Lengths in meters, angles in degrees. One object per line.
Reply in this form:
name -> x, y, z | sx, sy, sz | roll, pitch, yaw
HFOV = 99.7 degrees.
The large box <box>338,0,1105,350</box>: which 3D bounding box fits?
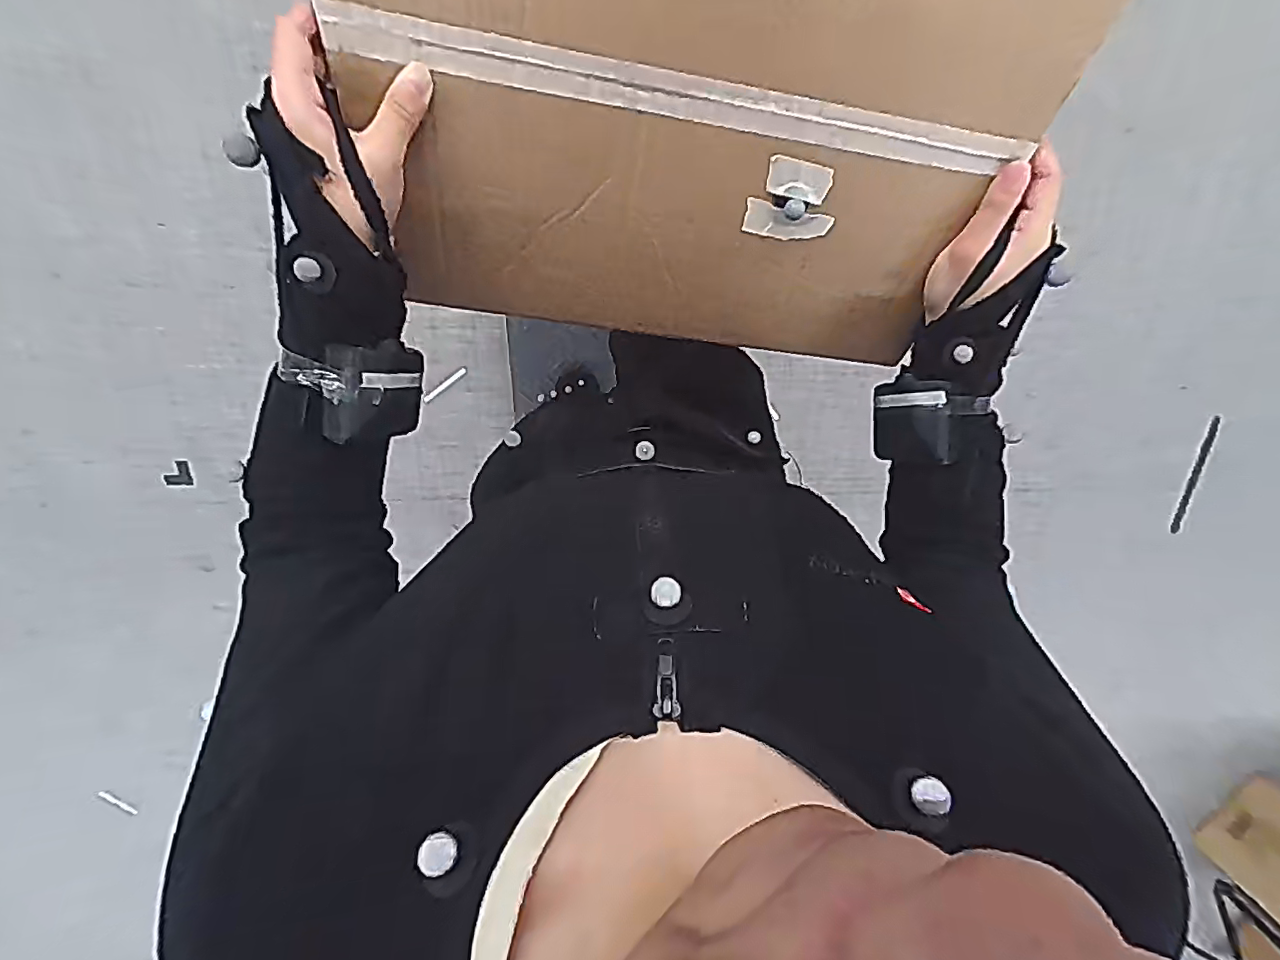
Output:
large box -> 0.029, -0.331, 0.411 | 0.408, 0.320, 0.320 | 4, 139, -9
